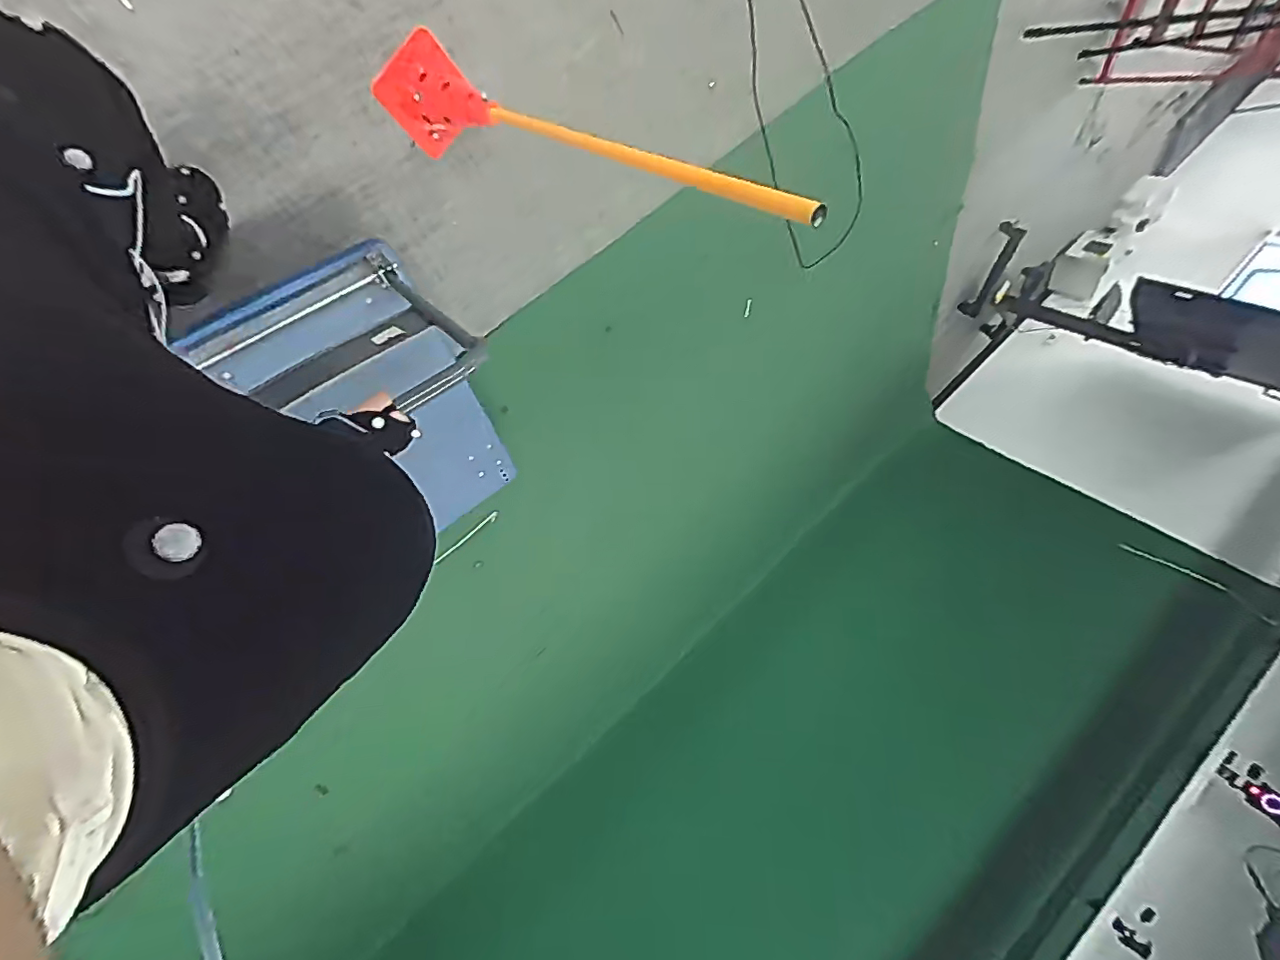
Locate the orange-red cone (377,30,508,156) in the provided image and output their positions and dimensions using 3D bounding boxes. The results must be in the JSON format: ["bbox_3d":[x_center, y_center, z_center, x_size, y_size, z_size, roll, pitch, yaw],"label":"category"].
[{"bbox_3d":[-0.398,-0.845,1.213,0.199,0.360,0.198,-51,145,-1],"label":"orange-red cone"}]
